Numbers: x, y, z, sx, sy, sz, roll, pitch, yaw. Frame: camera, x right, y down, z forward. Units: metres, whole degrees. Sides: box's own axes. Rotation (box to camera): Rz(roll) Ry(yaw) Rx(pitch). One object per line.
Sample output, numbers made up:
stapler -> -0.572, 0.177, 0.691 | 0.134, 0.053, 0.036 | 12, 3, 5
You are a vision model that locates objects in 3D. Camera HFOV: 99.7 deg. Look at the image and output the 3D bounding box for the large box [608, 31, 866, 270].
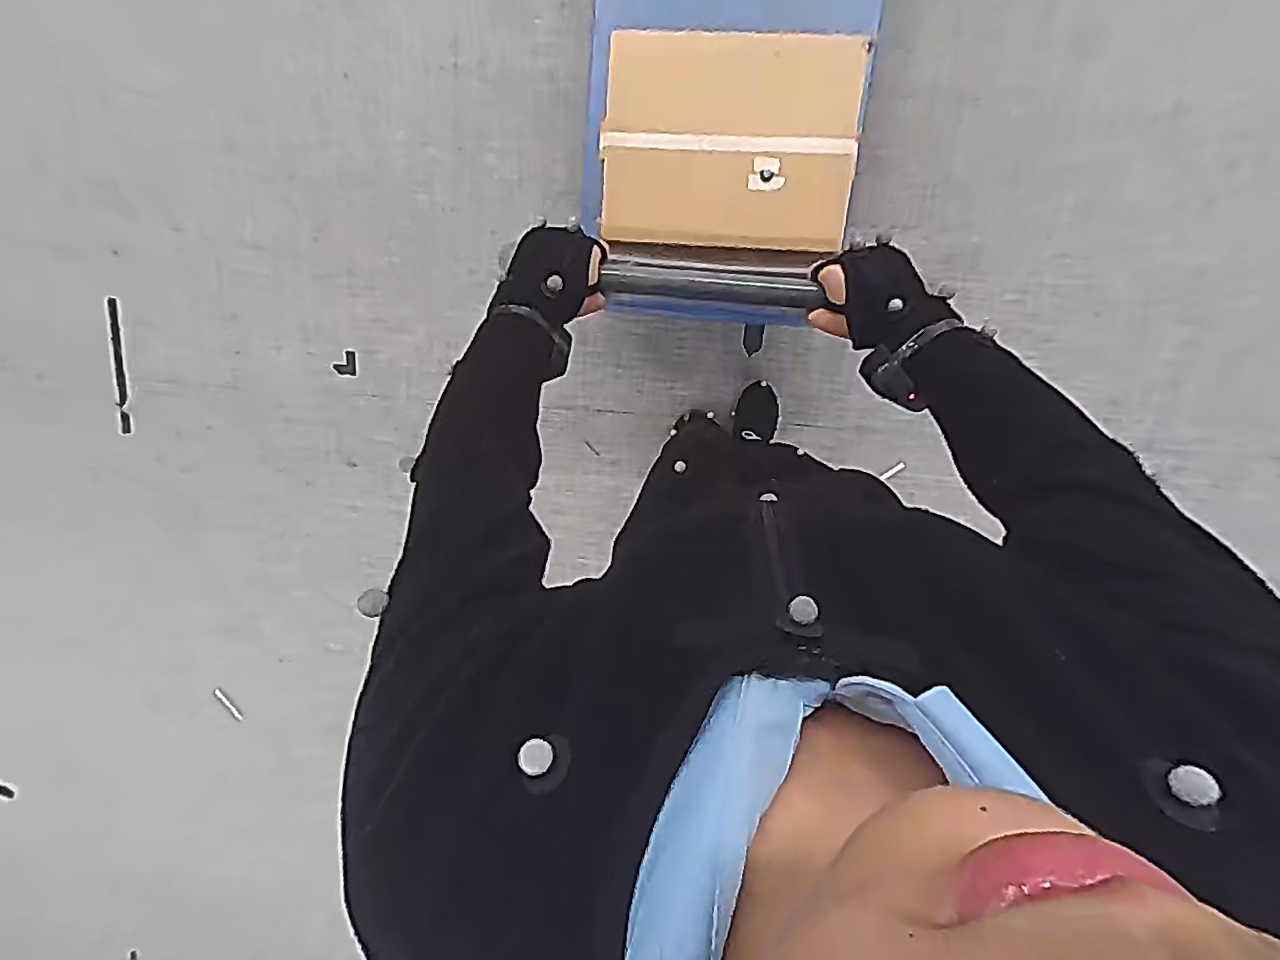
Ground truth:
large box -> 0.159, -0.590, 1.030 | 0.408, 0.320, 0.320 | 4, 104, 4
